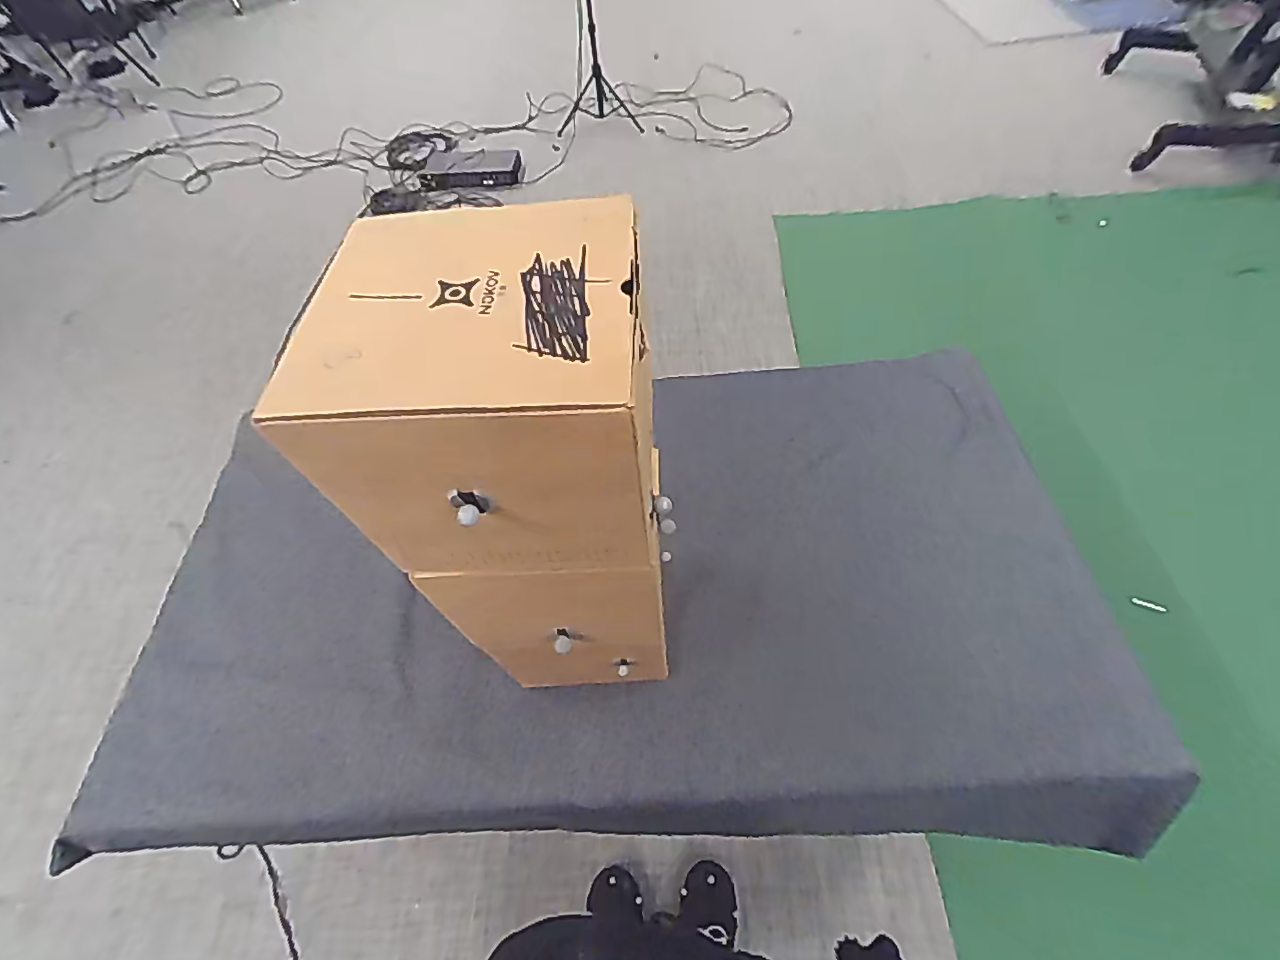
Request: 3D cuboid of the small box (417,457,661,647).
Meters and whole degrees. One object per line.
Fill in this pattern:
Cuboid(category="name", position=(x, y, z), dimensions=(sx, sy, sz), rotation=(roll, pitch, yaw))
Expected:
Cuboid(category="small box", position=(-0.071, 0.046, 0.493), dimensions=(0.179, 0.176, 0.168), rotation=(-3, 55, 2))

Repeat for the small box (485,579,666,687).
Cuboid(category="small box", position=(-0.062, 0.134, 0.631), dimensions=(0.179, 0.176, 0.168), rotation=(-6, 55, 2))

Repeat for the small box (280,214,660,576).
Cuboid(category="small box", position=(-0.080, -0.047, 0.357), dimensions=(0.179, 0.176, 0.168), rotation=(-4, 56, 0))
